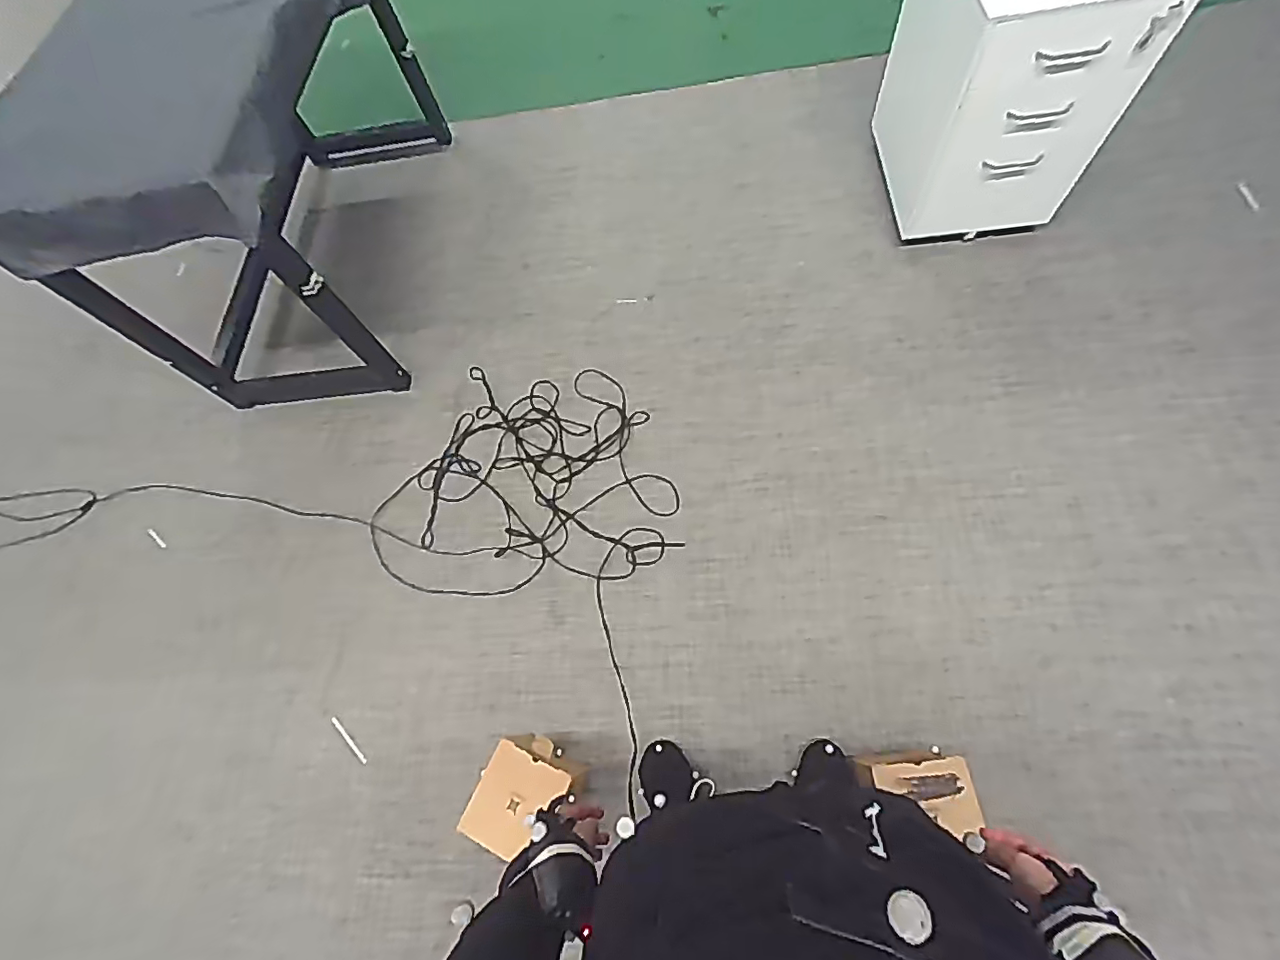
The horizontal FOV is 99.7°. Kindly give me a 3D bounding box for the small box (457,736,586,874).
[{"bbox_3d":[-0.227,0.641,1.093,0.168,0.176,0.179,20,70,16],"label":"small box"}]
